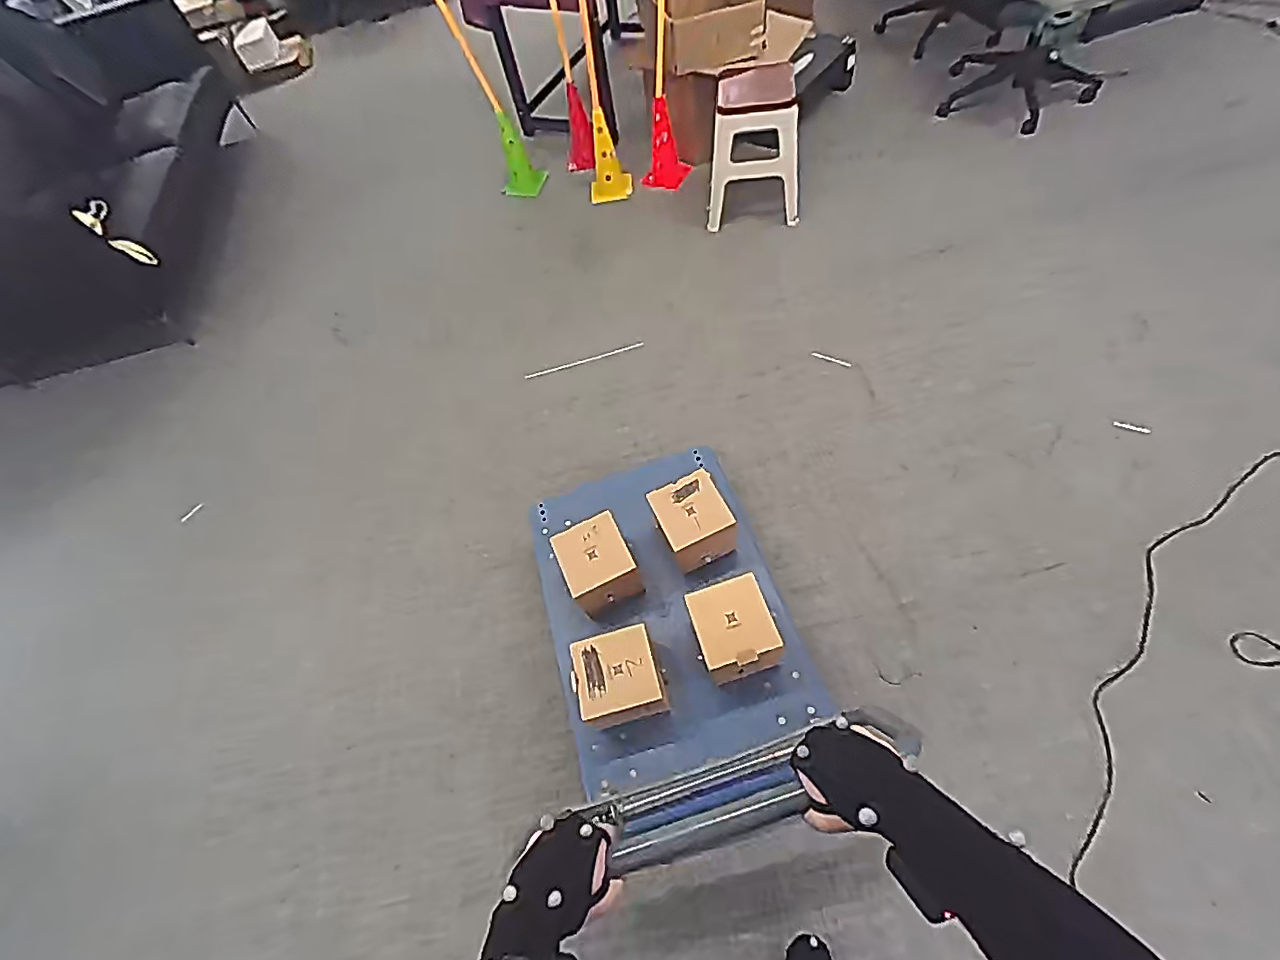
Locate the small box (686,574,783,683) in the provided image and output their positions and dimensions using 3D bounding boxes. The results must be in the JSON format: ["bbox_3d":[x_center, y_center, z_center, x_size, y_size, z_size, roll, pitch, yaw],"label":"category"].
[{"bbox_3d":[0.212,0.344,1.239,0.168,0.176,0.179,-19,59,-1],"label":"small box"}]

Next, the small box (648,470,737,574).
[{"bbox_3d":[0.135,0.112,1.387,0.168,0.176,0.179,-25,60,-4],"label":"small box"}]

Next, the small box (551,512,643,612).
[{"bbox_3d":[-0.103,0.216,1.369,0.168,0.176,0.179,-25,59,-6],"label":"small box"}]
